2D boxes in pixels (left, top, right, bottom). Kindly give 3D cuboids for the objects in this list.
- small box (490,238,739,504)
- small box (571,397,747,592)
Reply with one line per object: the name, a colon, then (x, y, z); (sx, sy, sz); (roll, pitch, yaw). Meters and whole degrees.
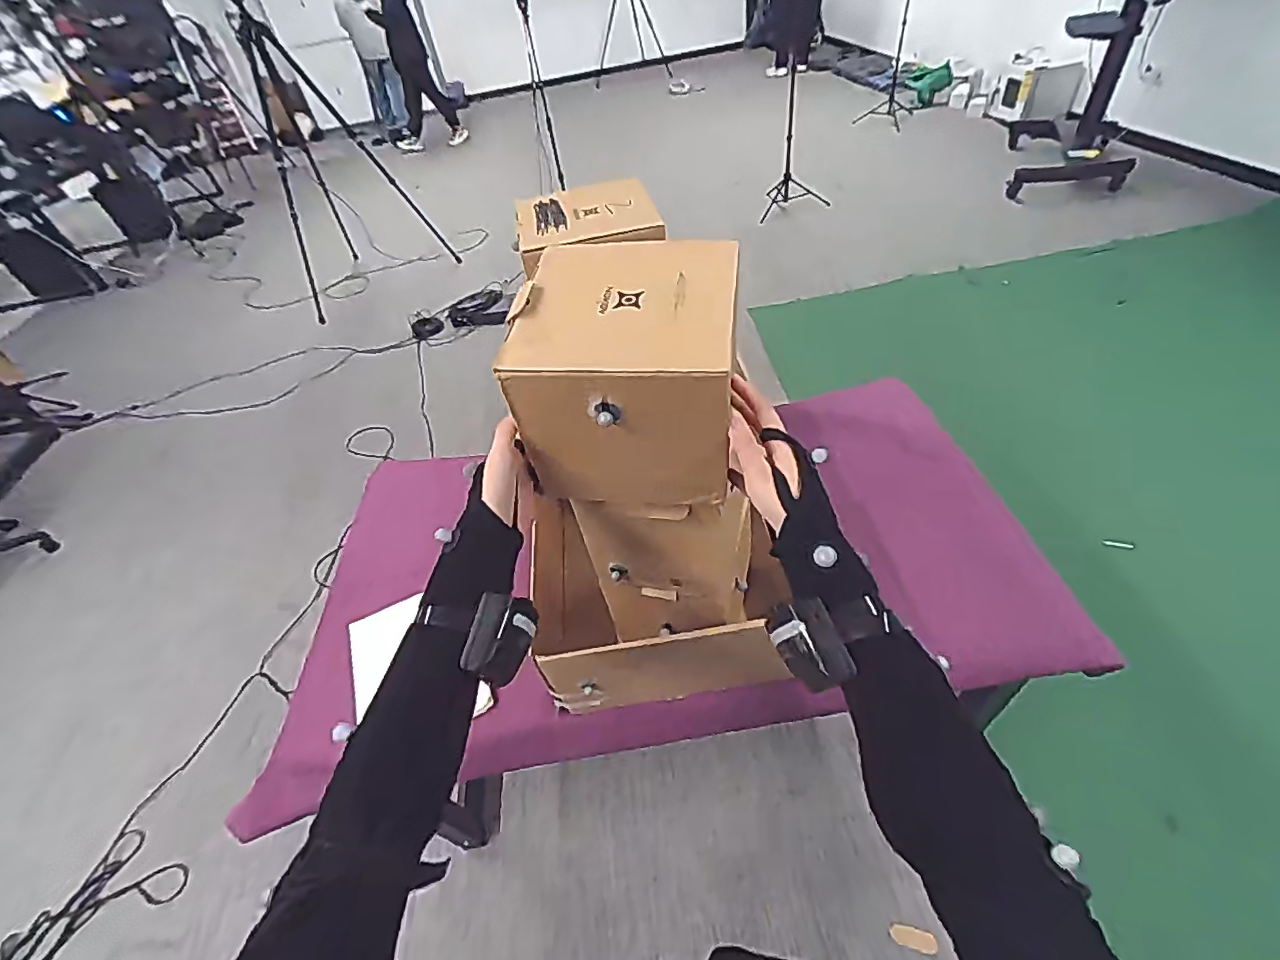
small box: (-0.004, -0.092, 0.486); (0.179, 0.176, 0.168); (3, 54, 11)
small box: (0.038, 0.015, 0.660); (0.168, 0.176, 0.179); (4, 46, 17)
